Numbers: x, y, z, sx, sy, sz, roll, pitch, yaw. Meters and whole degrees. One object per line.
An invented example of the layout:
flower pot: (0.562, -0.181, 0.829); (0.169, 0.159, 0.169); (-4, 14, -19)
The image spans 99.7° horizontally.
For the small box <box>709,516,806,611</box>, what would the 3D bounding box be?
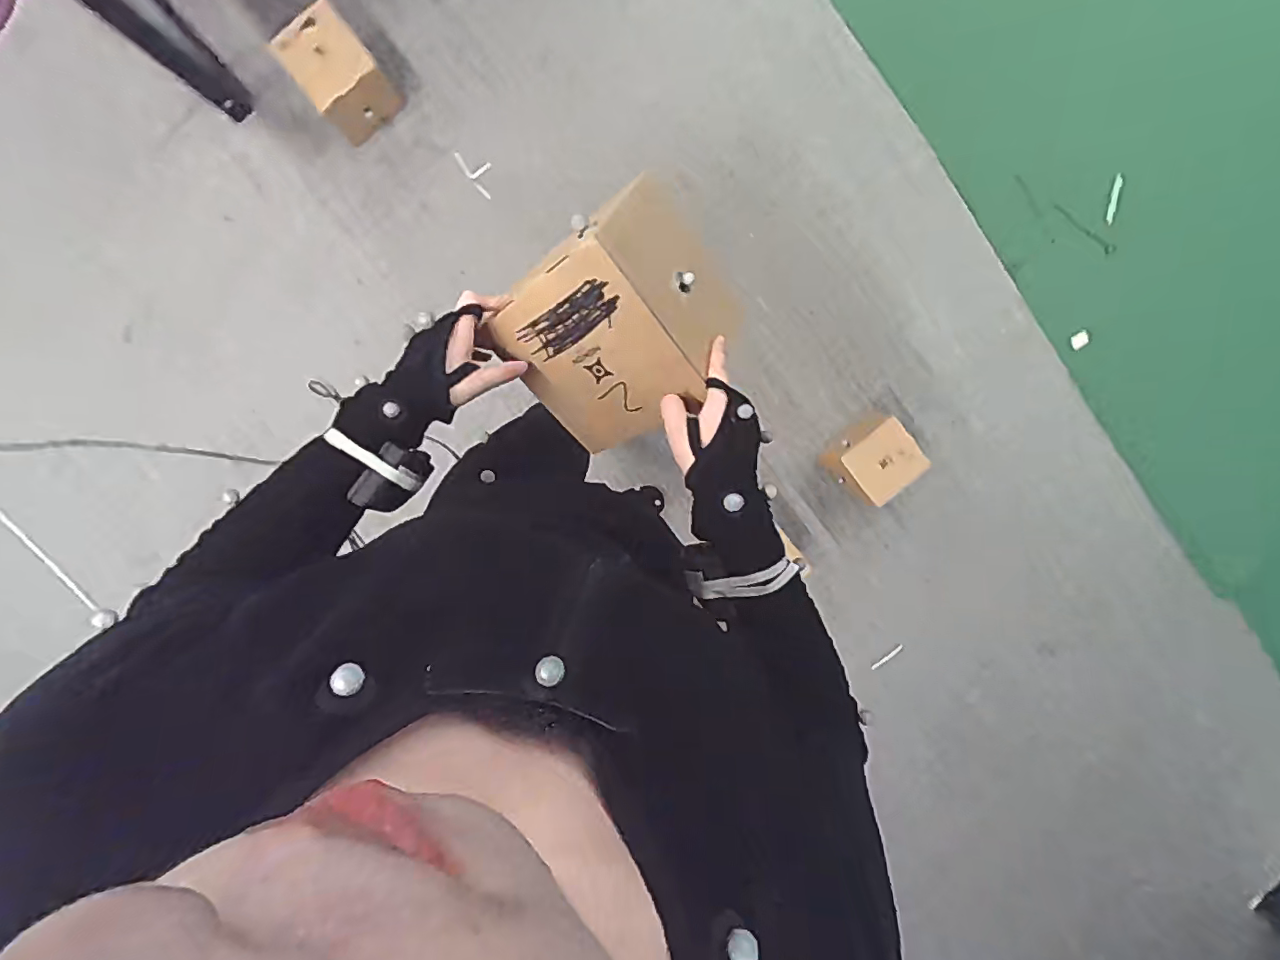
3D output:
small box: (0.305, 0.213, 1.452); (0.168, 0.176, 0.179); (-38, 97, 2)

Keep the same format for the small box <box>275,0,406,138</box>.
small box: (-0.694, -0.951, 1.278); (0.168, 0.176, 0.179); (-37, 98, 3)

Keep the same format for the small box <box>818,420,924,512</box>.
small box: (0.598, -0.042, 1.434); (0.179, 0.176, 0.168); (-38, 97, 3)
